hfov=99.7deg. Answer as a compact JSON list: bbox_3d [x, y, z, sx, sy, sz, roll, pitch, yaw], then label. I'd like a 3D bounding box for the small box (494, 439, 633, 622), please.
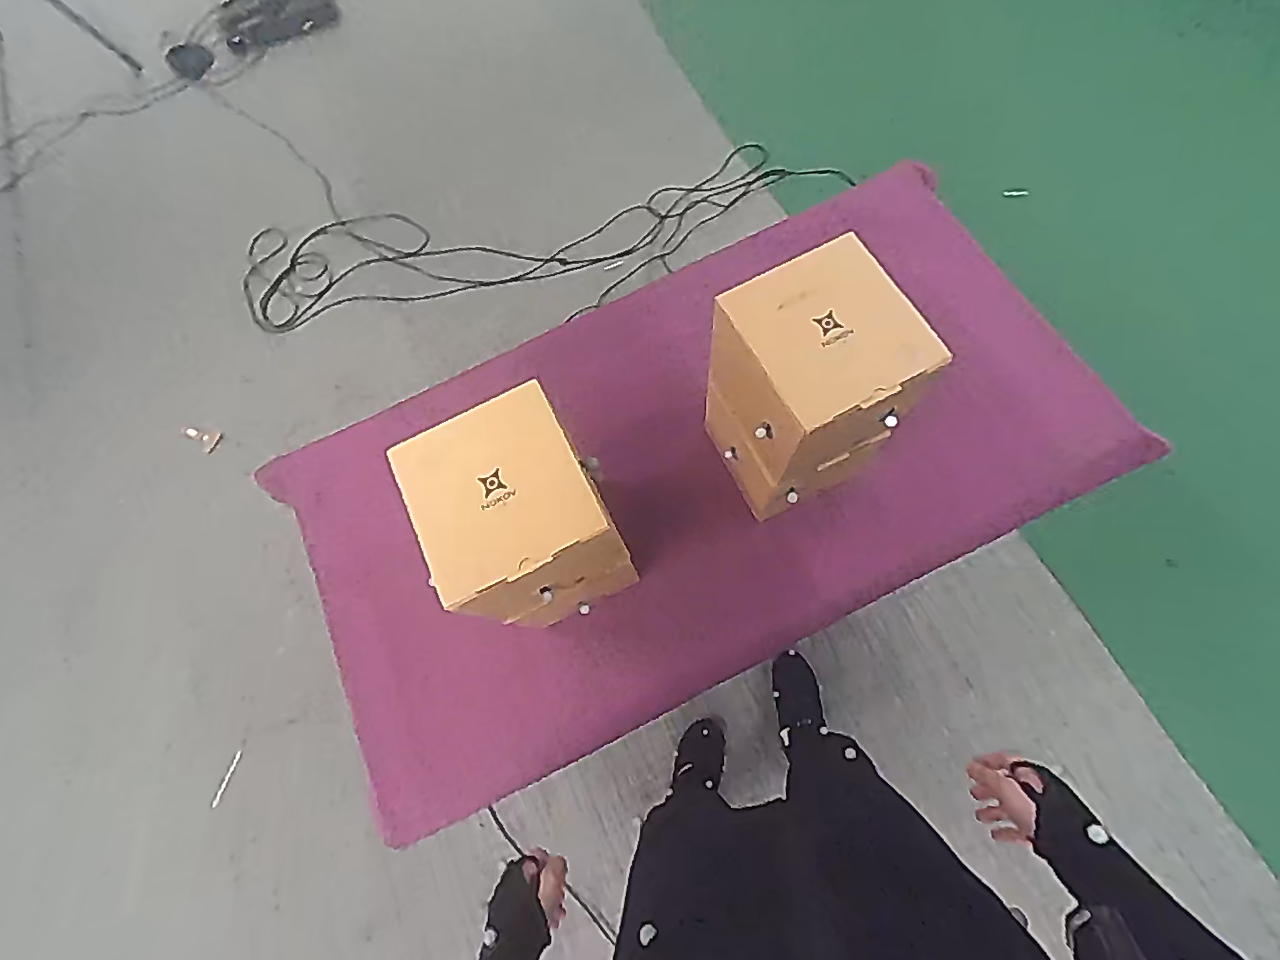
[{"bbox_3d":[-0.120,0.077,0.730,0.168,0.176,0.179,-25,72,-3],"label":"small box"}]

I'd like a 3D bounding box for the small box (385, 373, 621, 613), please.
[{"bbox_3d":[-0.133,0.025,0.576,0.168,0.176,0.179,-26,73,-5],"label":"small box"}]

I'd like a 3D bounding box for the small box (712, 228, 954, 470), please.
[{"bbox_3d":[0.192,-0.128,0.599,0.168,0.176,0.179,-25,71,-4],"label":"small box"}]
